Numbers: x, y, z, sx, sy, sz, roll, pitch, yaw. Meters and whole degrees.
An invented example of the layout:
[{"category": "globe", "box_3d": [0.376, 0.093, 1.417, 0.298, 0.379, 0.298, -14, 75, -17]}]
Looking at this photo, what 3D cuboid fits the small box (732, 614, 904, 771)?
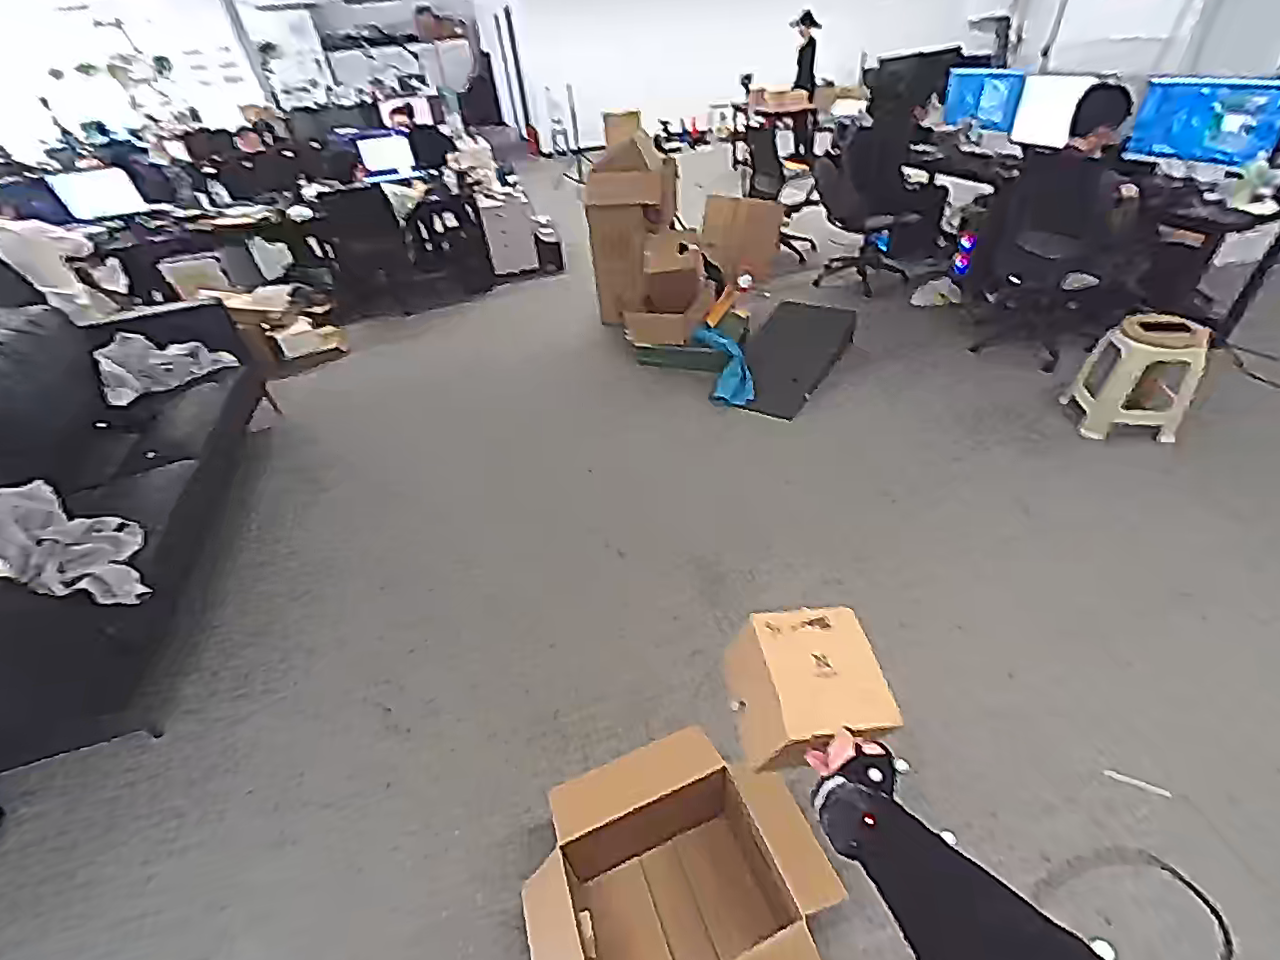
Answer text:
[{"category": "small box", "box_3d": [0.250, 0.321, 0.809, 0.168, 0.176, 0.179, -1, 48, -10]}]
